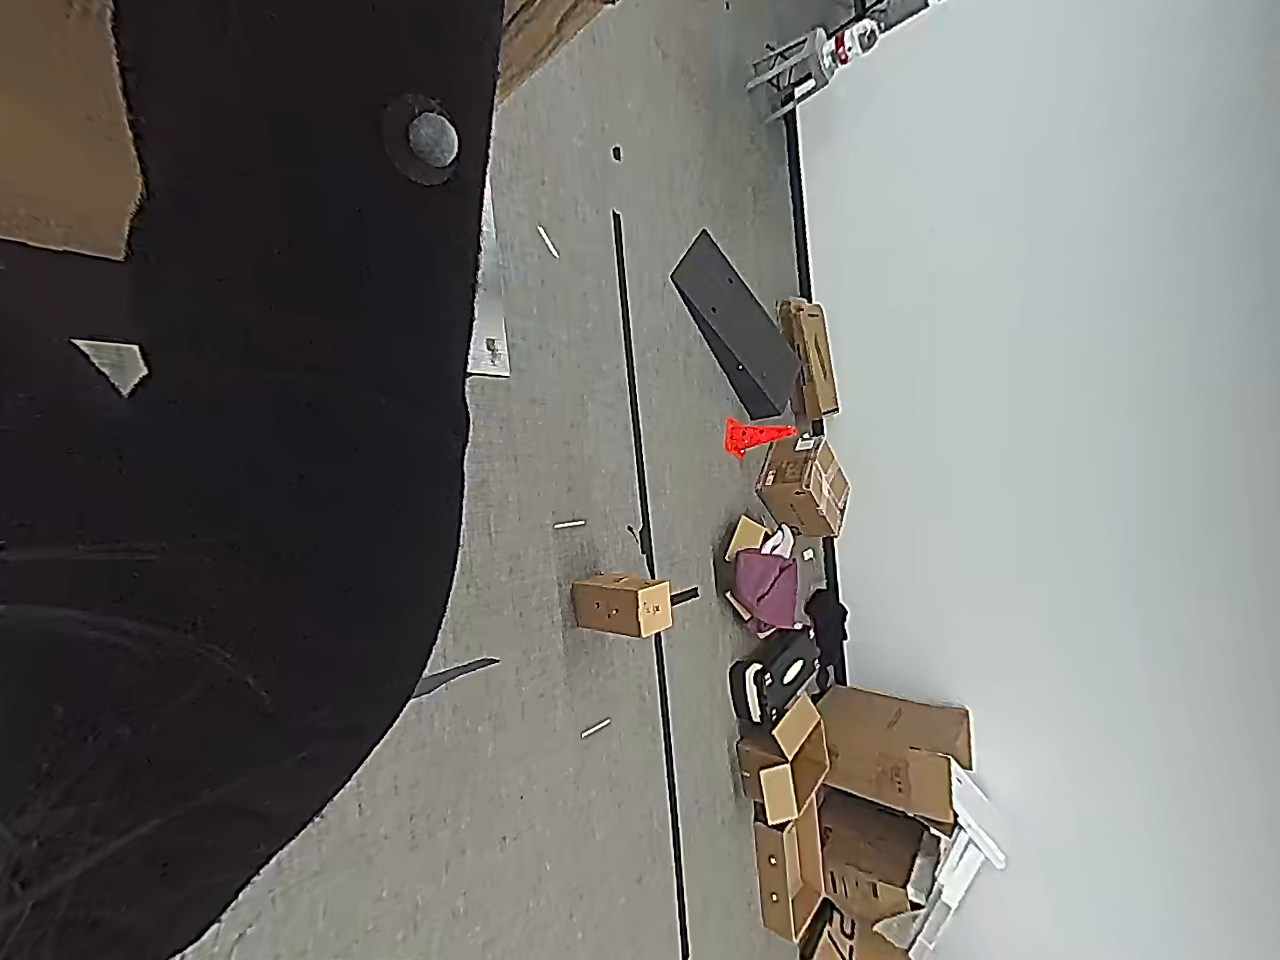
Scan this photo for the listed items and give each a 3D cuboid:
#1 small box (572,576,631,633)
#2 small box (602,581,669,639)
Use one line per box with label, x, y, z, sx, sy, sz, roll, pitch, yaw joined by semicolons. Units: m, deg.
small box;-0.141;0.466;2.053;0.168;0.176;0.179;-10;95;-49
small box;-0.015;0.461;1.946;0.179;0.176;0.168;-4;90;-49
